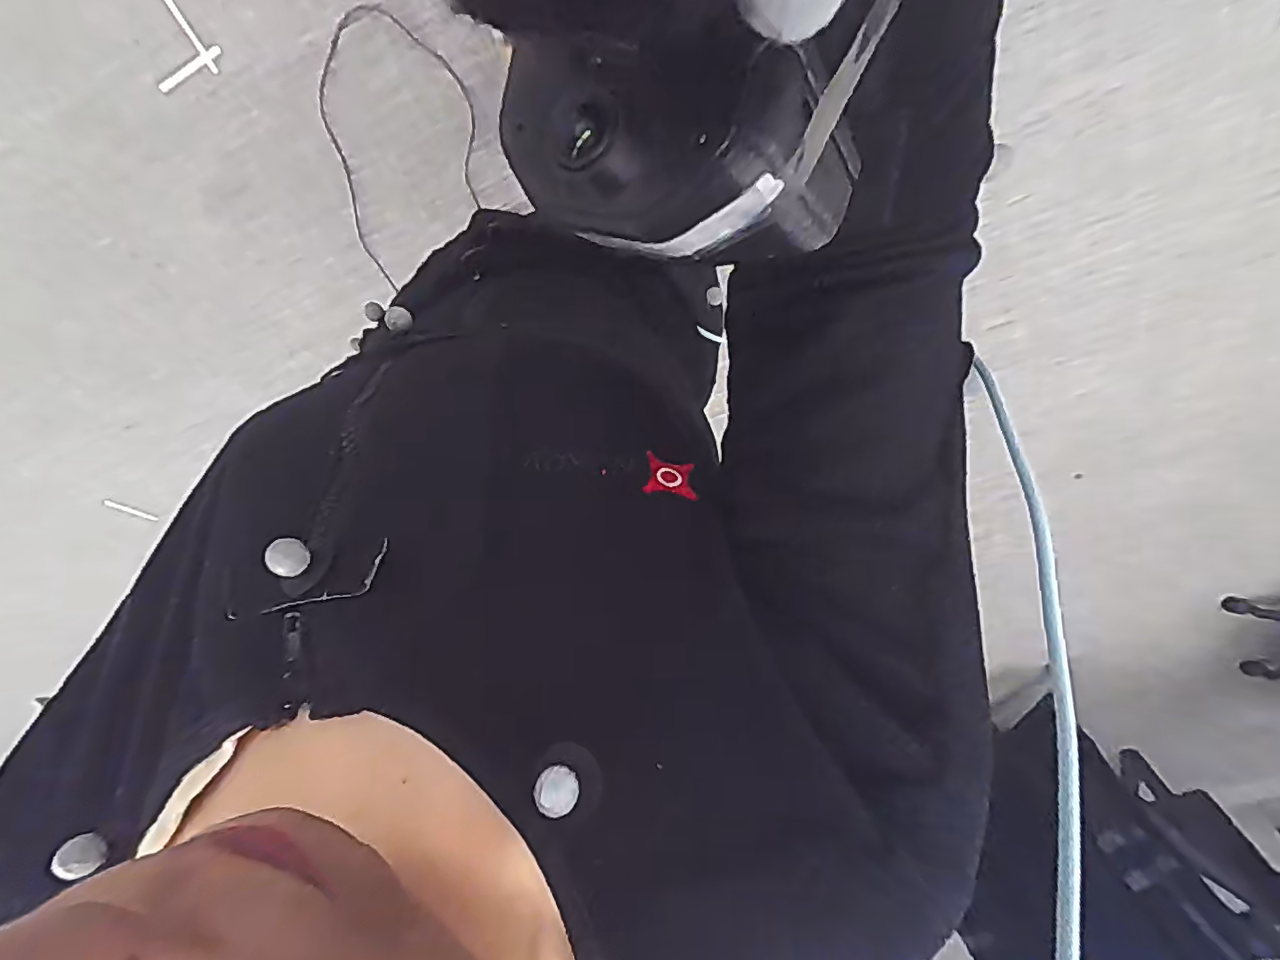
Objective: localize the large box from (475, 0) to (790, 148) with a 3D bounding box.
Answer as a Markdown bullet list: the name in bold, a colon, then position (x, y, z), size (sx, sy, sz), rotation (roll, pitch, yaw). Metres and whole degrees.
- **large box**: position (-0.032, -0.774, 0.845), size (0.408, 0.320, 0.320), rotation (-20, 120, 11)
